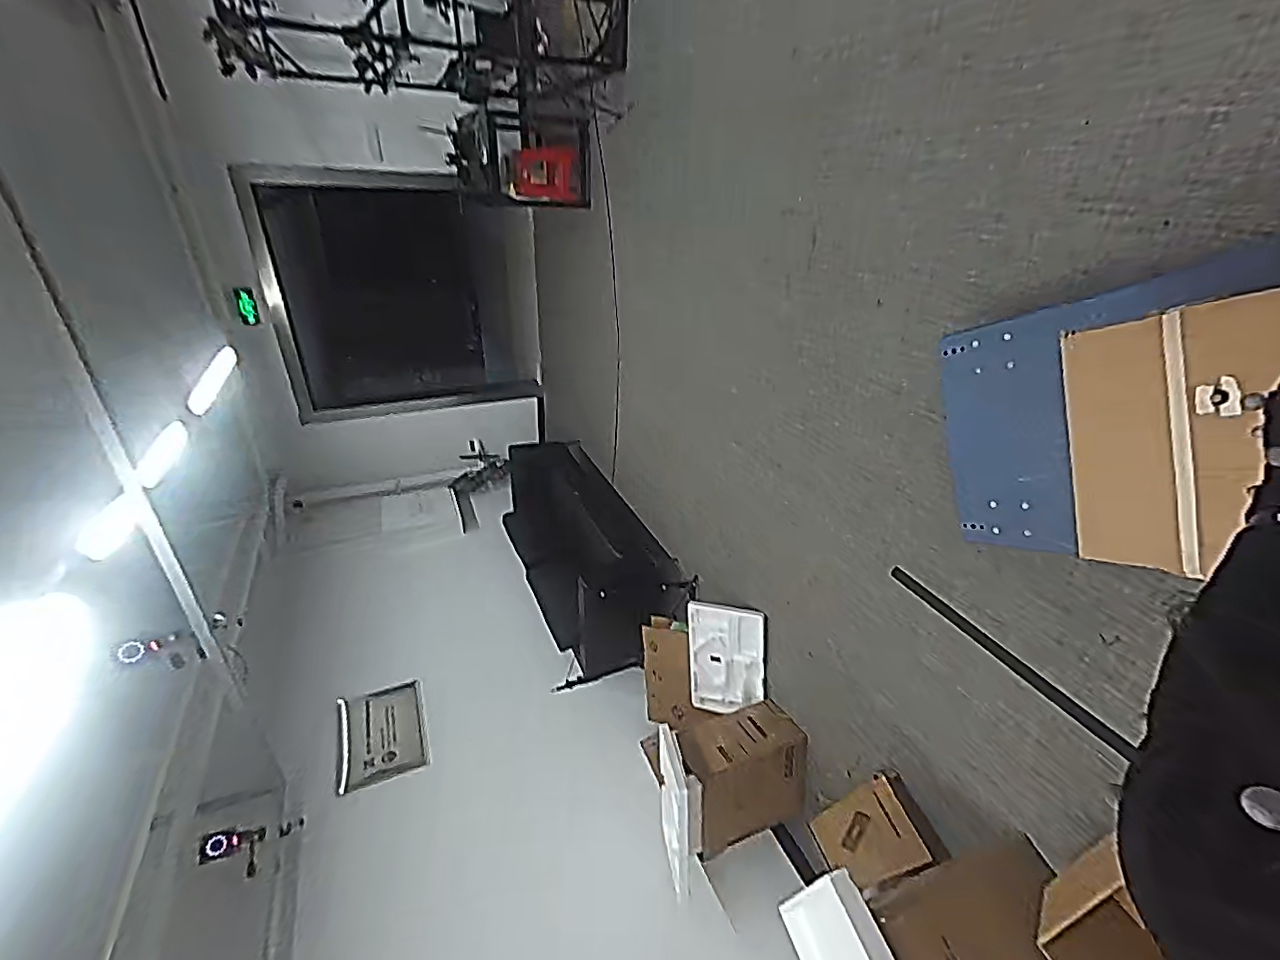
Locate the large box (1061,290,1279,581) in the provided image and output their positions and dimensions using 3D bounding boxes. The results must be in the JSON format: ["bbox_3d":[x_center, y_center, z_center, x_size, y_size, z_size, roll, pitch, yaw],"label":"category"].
[{"bbox_3d":[0.965,-0.075,0.877,0.320,0.320,0.408,-179,80,-67],"label":"large box"}]
